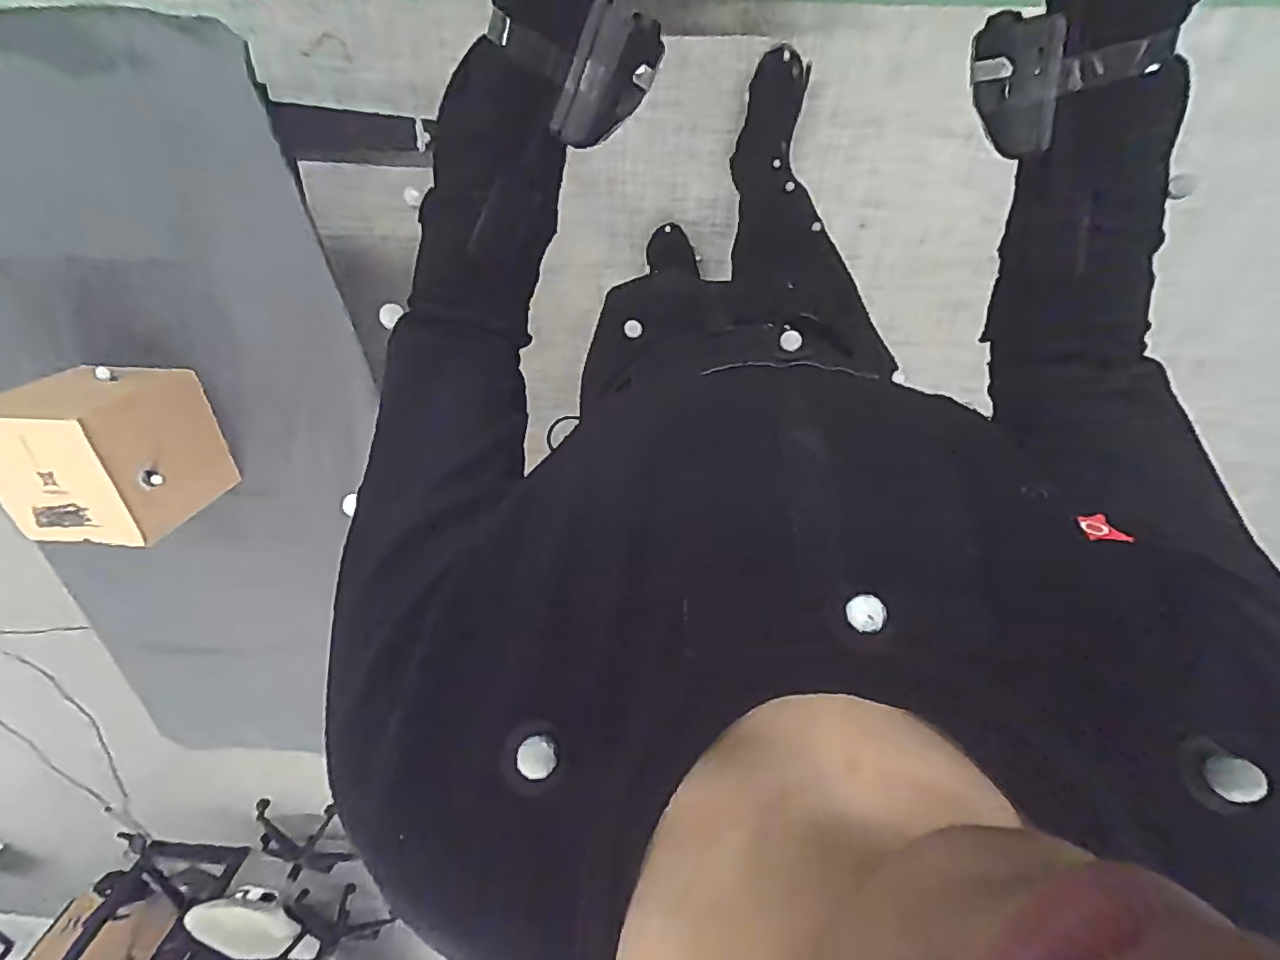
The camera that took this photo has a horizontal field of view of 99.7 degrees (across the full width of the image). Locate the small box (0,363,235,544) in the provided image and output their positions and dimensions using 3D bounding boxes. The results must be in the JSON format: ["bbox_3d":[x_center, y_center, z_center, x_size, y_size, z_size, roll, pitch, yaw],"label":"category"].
[{"bbox_3d":[-0.685,-0.039,0.708,0.168,0.176,0.179,3,121,3],"label":"small box"}]
